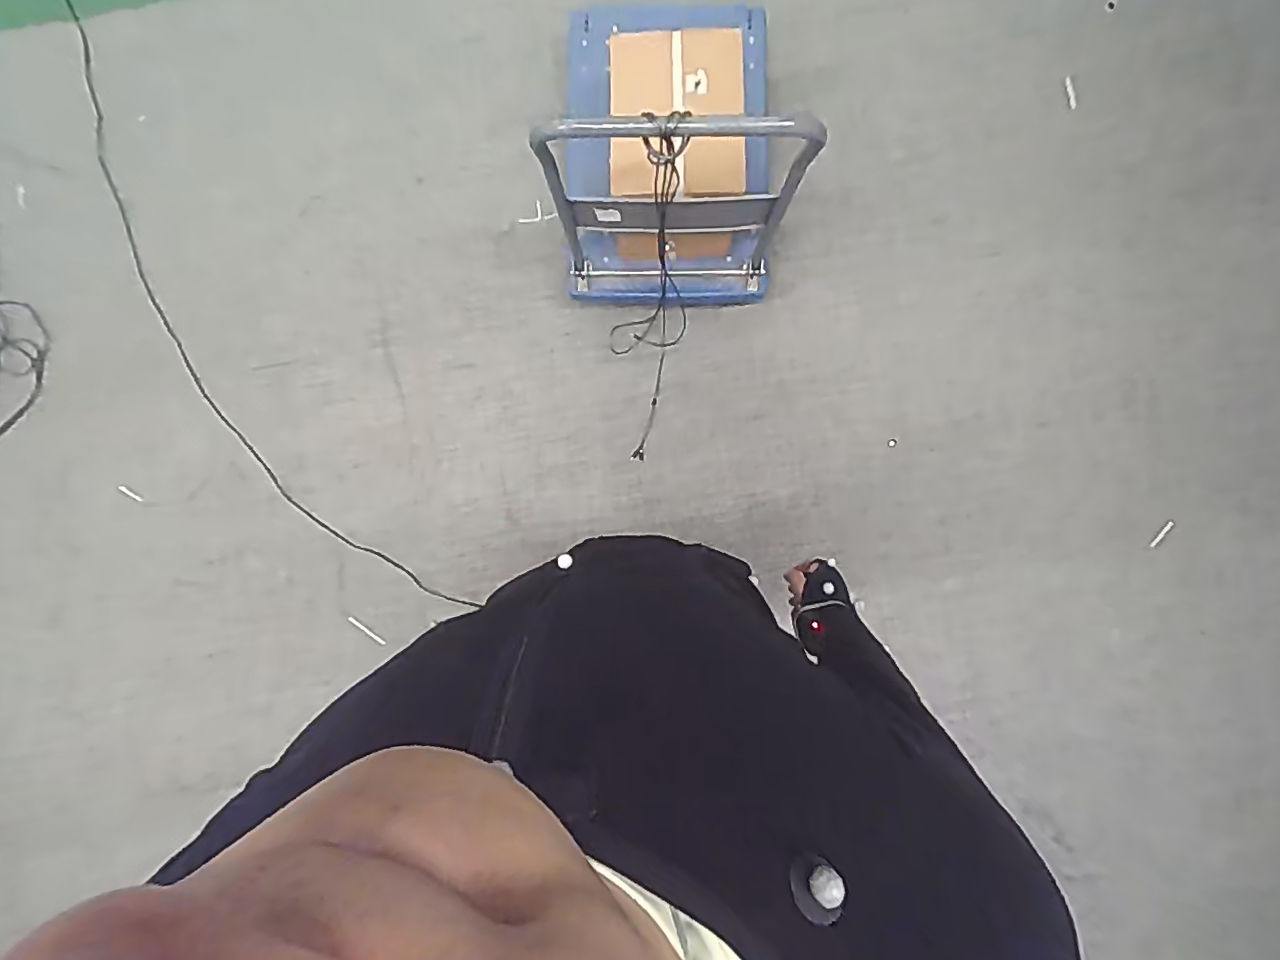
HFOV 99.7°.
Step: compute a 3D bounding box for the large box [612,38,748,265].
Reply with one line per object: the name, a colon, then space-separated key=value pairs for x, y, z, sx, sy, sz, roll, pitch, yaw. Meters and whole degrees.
large box: x=0.097 y=-0.820 z=1.399 sx=0.320 sy=0.320 sz=0.408 roll=0 pitch=85 yaw=1
